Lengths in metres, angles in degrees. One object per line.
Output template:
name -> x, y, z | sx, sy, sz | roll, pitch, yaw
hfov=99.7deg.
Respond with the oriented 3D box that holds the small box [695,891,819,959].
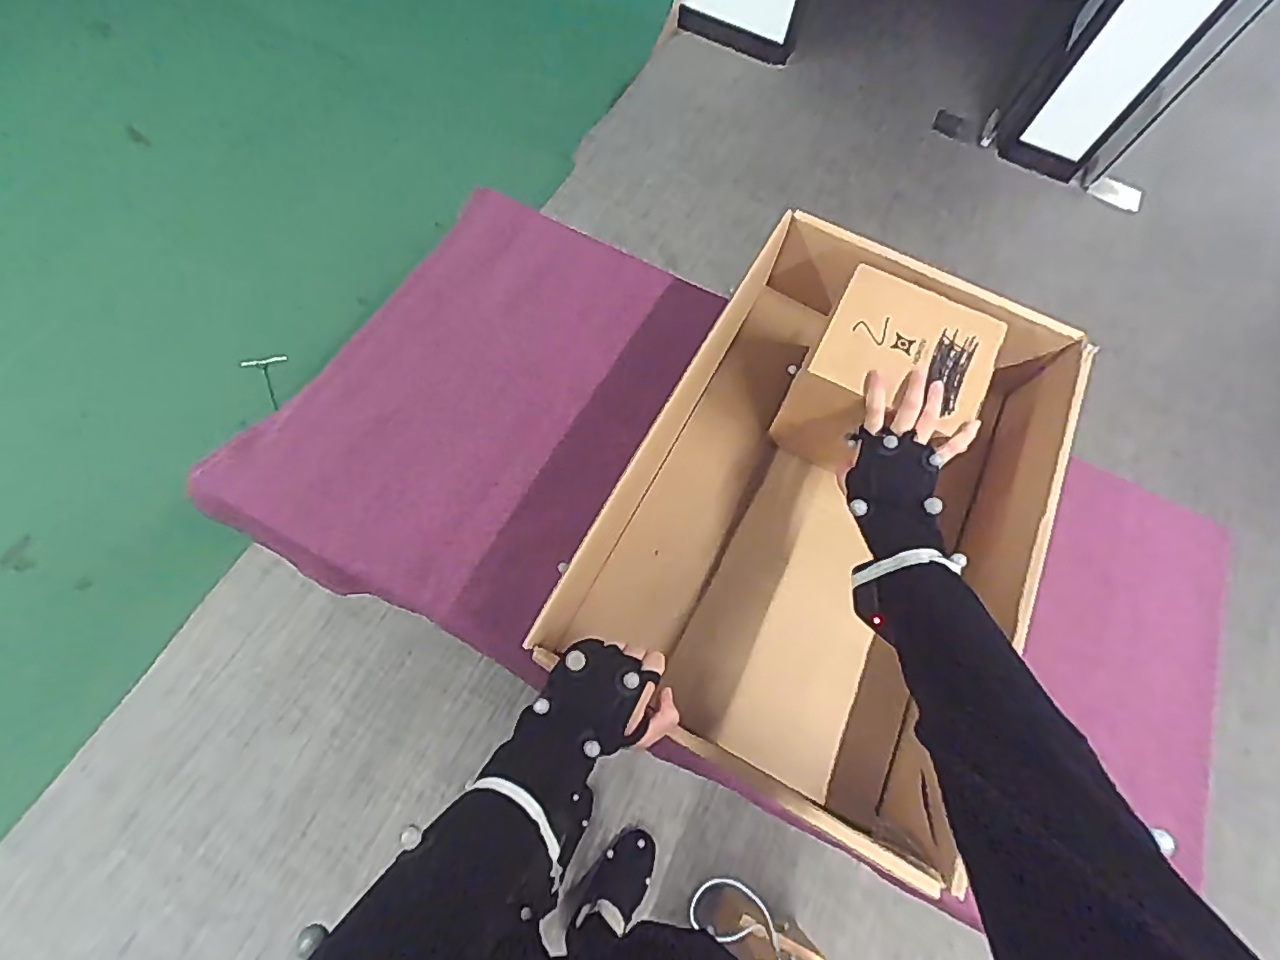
small box -> 0.224, 0.956, 1.062 | 0.179, 0.176, 0.168 | 26, 69, 7
